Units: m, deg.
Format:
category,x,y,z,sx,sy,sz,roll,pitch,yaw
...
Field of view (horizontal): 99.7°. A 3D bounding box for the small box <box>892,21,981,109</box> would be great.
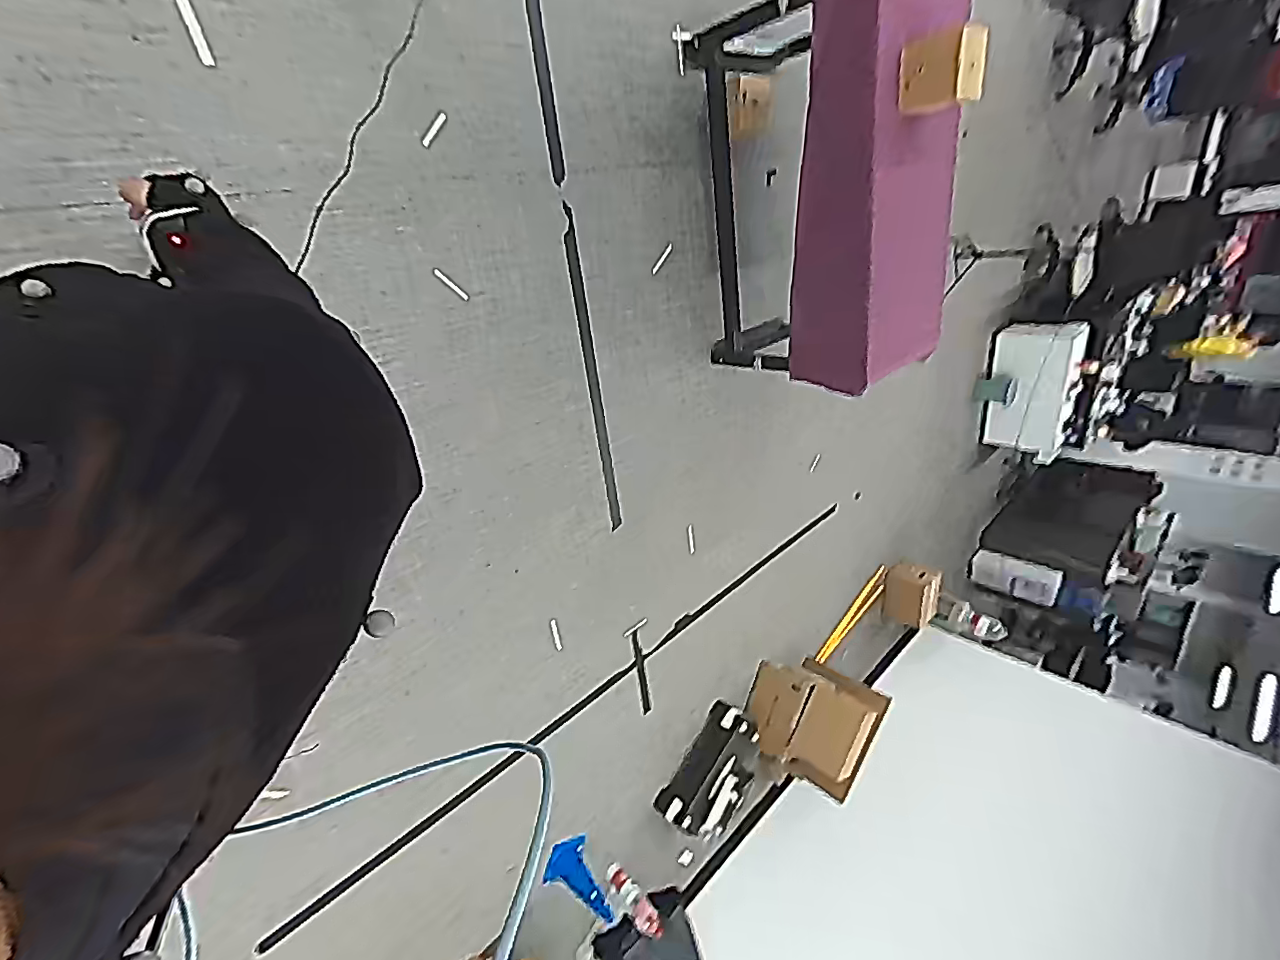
category,x,y,z,sx,sy,sz,roll,pitch,yaw
small box,0.866,-1.206,1.583,0.179,0.176,0.168,-27,121,-34
